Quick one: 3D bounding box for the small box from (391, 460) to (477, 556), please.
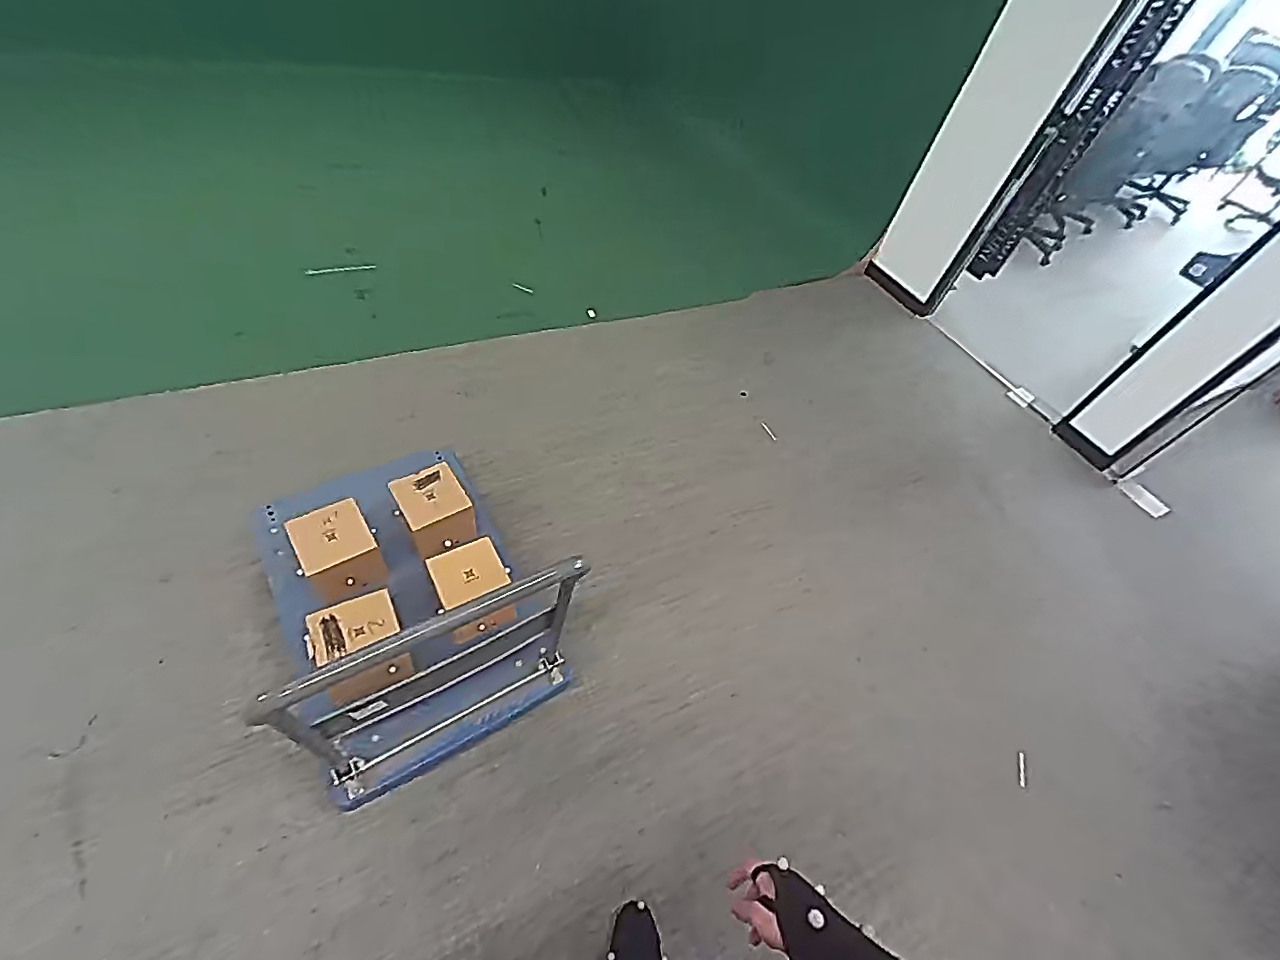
[{"bbox_3d":[-0.572,0.081,1.513,0.168,0.176,0.179,-26,63,-27],"label":"small box"}]

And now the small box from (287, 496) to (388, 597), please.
[{"bbox_3d":[-0.772,0.179,1.395,0.168,0.176,0.179,-25,62,-28],"label":"small box"}]

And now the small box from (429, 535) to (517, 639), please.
[{"bbox_3d":[-0.430,0.279,1.395,0.168,0.176,0.179,-21,60,-26],"label":"small box"}]
